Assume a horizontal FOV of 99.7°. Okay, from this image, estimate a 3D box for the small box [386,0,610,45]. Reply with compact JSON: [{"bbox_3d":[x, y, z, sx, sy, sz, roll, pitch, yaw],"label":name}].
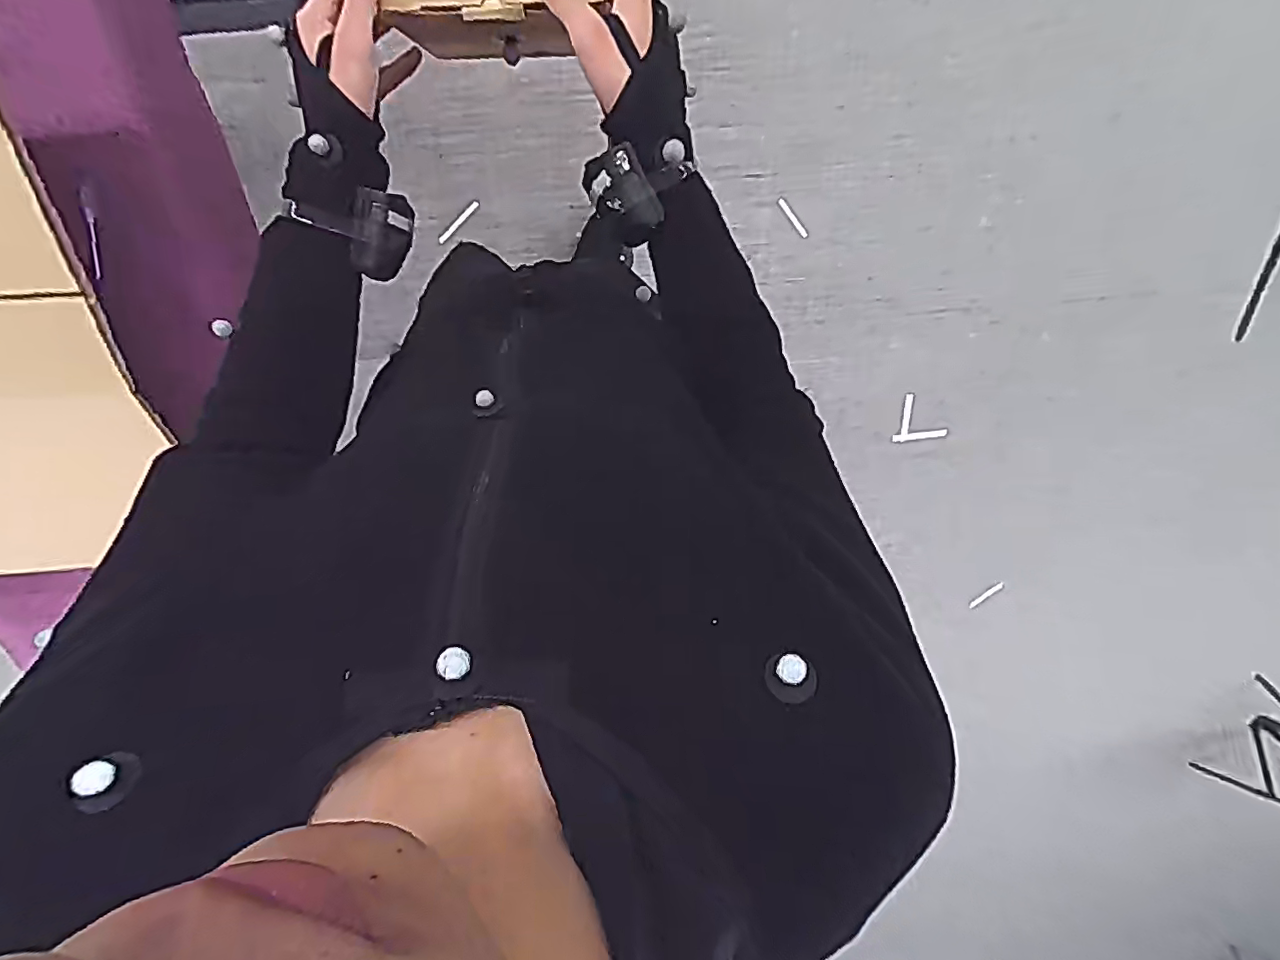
[{"bbox_3d":[-0.108,-0.456,0.416,0.168,0.176,0.179,-3,120,-3],"label":"small box"}]
